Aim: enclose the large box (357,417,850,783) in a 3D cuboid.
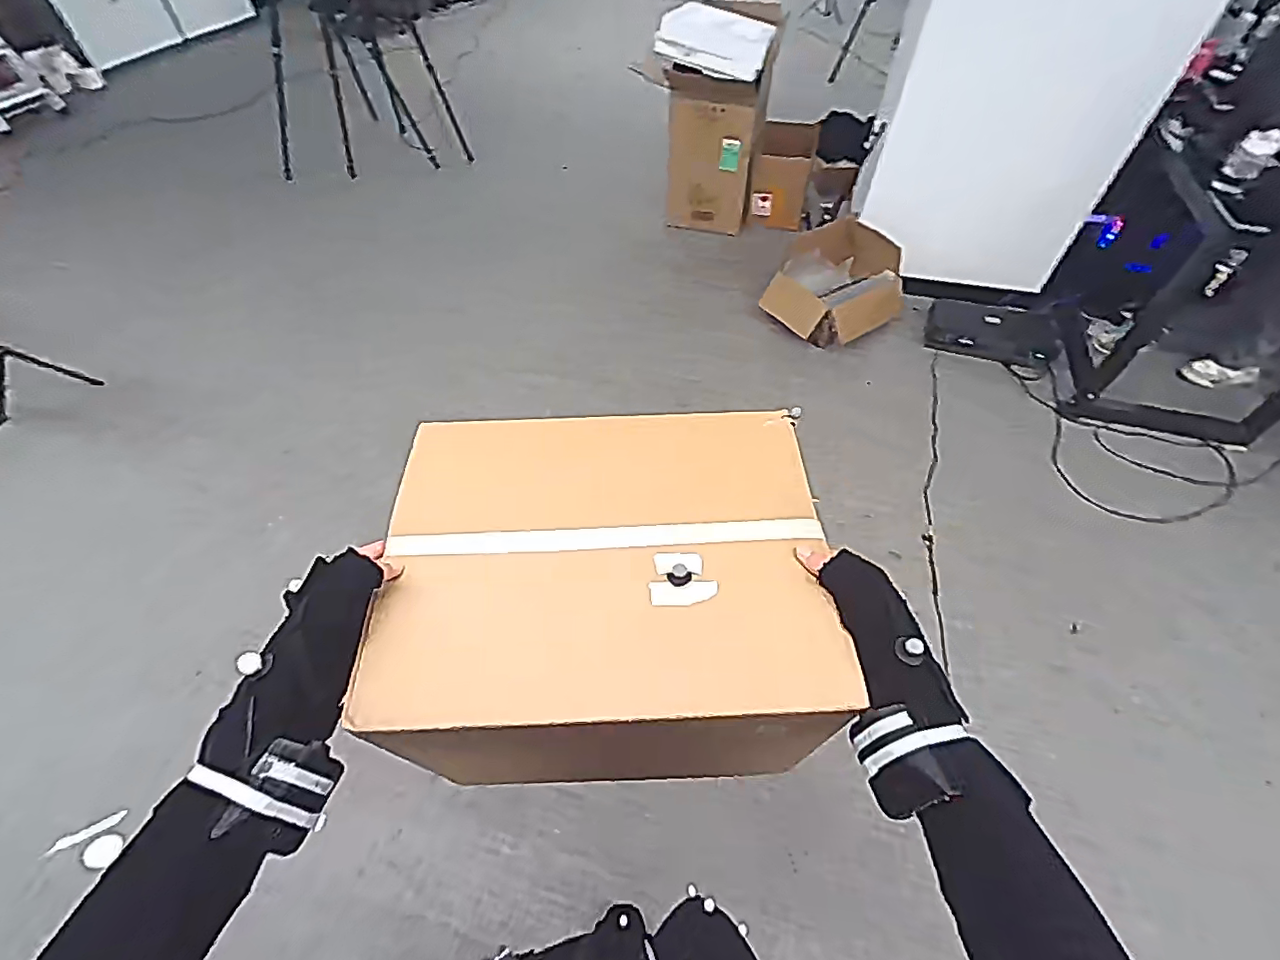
[{"bbox_3d":[-0.034,0.149,0.635,0.408,0.320,0.320,-2,54,-1],"label":"large box"}]
